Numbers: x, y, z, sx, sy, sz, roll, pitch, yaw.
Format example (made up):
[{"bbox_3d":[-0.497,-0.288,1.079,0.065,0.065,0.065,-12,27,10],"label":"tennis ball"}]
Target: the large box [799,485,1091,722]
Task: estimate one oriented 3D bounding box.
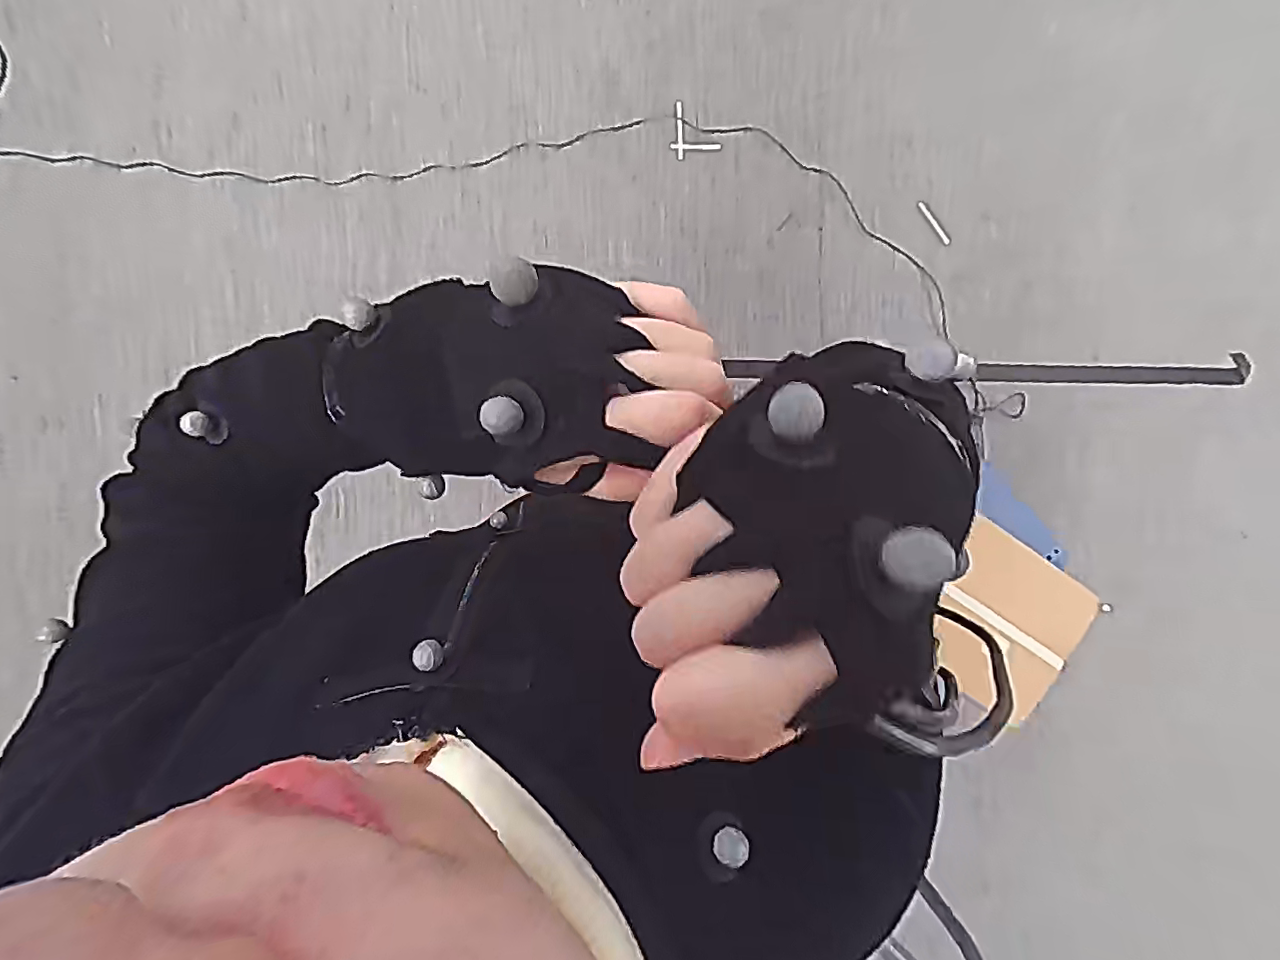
[{"bbox_3d":[0.644,0.245,1.210,0.408,0.320,0.320,35,90,-4],"label":"large box"}]
